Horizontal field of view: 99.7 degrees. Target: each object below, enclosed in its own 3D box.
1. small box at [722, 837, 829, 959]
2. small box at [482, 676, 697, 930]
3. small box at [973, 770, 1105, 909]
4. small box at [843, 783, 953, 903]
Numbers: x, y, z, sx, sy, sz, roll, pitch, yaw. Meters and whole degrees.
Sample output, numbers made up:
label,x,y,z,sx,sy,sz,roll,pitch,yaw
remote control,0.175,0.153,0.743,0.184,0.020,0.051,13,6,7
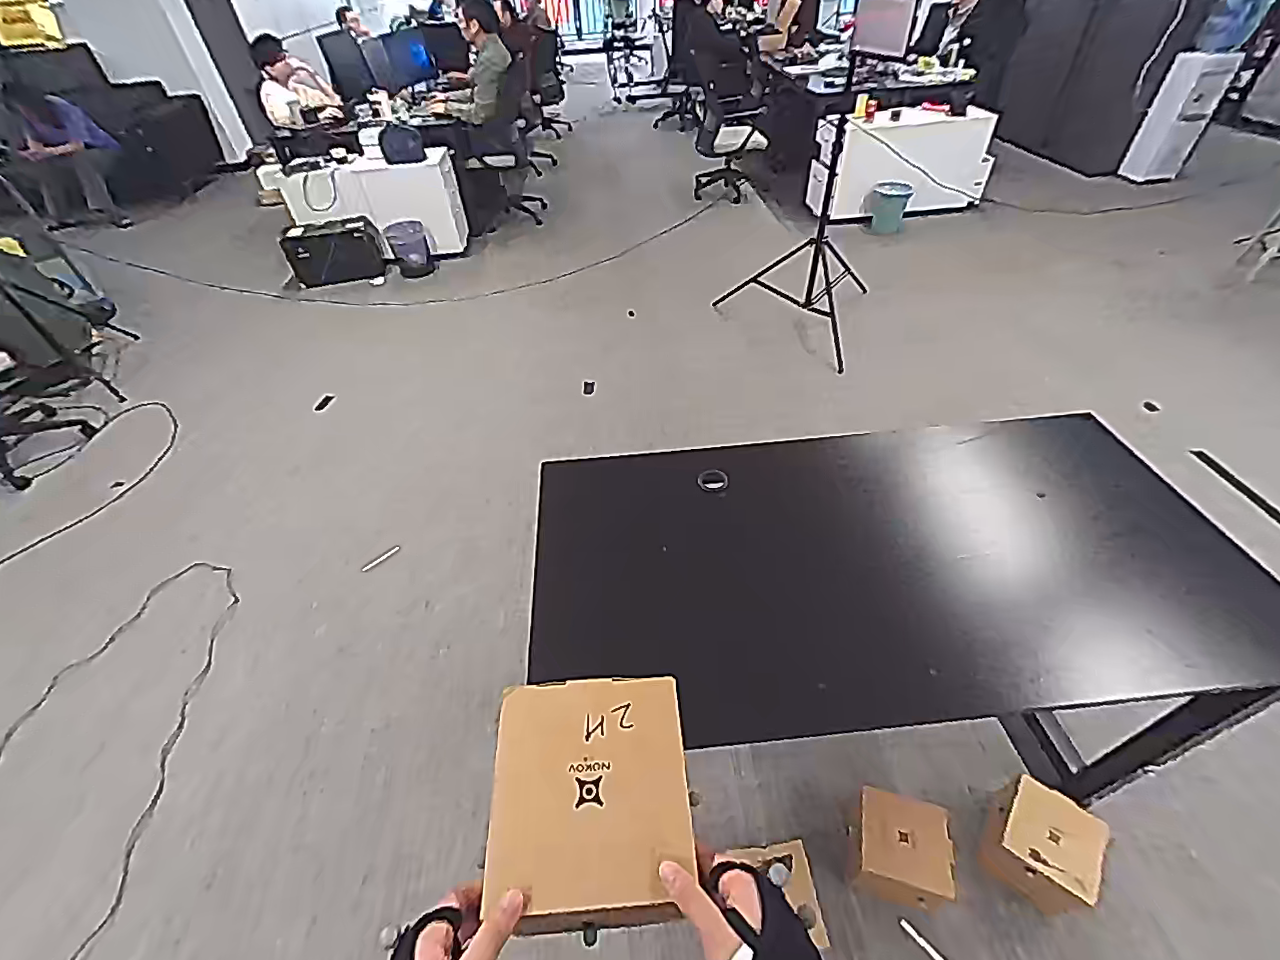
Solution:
label,x,y,z,sx,sy,sz,roll,pitch,yaw
small box,0.270,0.874,1.128,0.168,0.176,0.179,-7,46,-2
small box,-0.042,0.311,0.517,0.168,0.176,0.179,-3,46,-4
small box,0.859,0.781,1.175,0.168,0.176,0.179,27,53,28
small box,0.556,0.798,1.185,0.179,0.176,0.168,8,45,14
